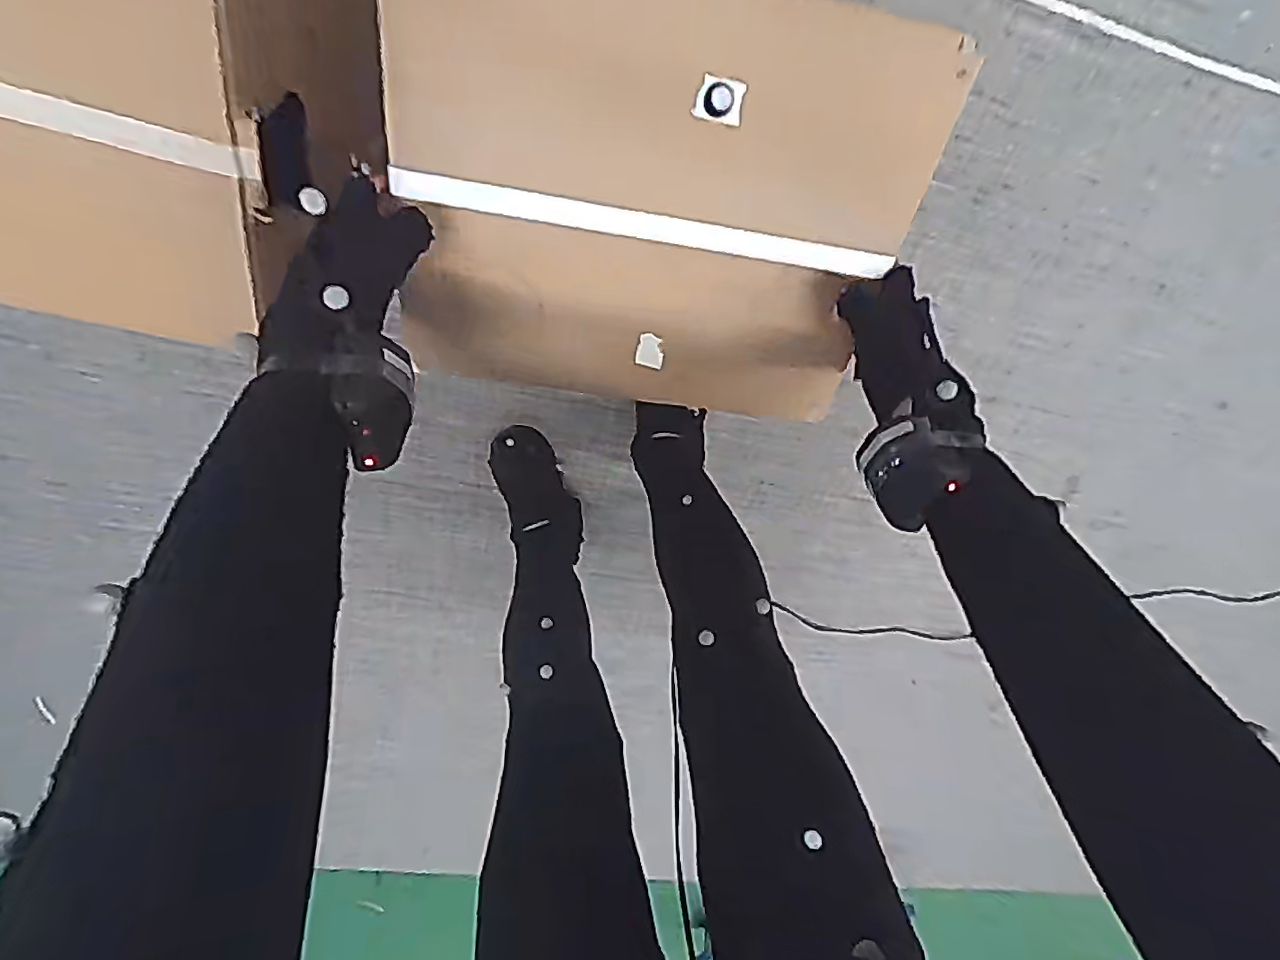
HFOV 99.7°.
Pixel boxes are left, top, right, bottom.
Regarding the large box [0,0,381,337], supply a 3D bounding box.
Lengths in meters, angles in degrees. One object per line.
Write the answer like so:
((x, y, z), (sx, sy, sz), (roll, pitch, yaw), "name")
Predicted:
((-0.490, -0.366, 0.475), (0.408, 0.320, 0.320), (11, 124, -10), "large box")
